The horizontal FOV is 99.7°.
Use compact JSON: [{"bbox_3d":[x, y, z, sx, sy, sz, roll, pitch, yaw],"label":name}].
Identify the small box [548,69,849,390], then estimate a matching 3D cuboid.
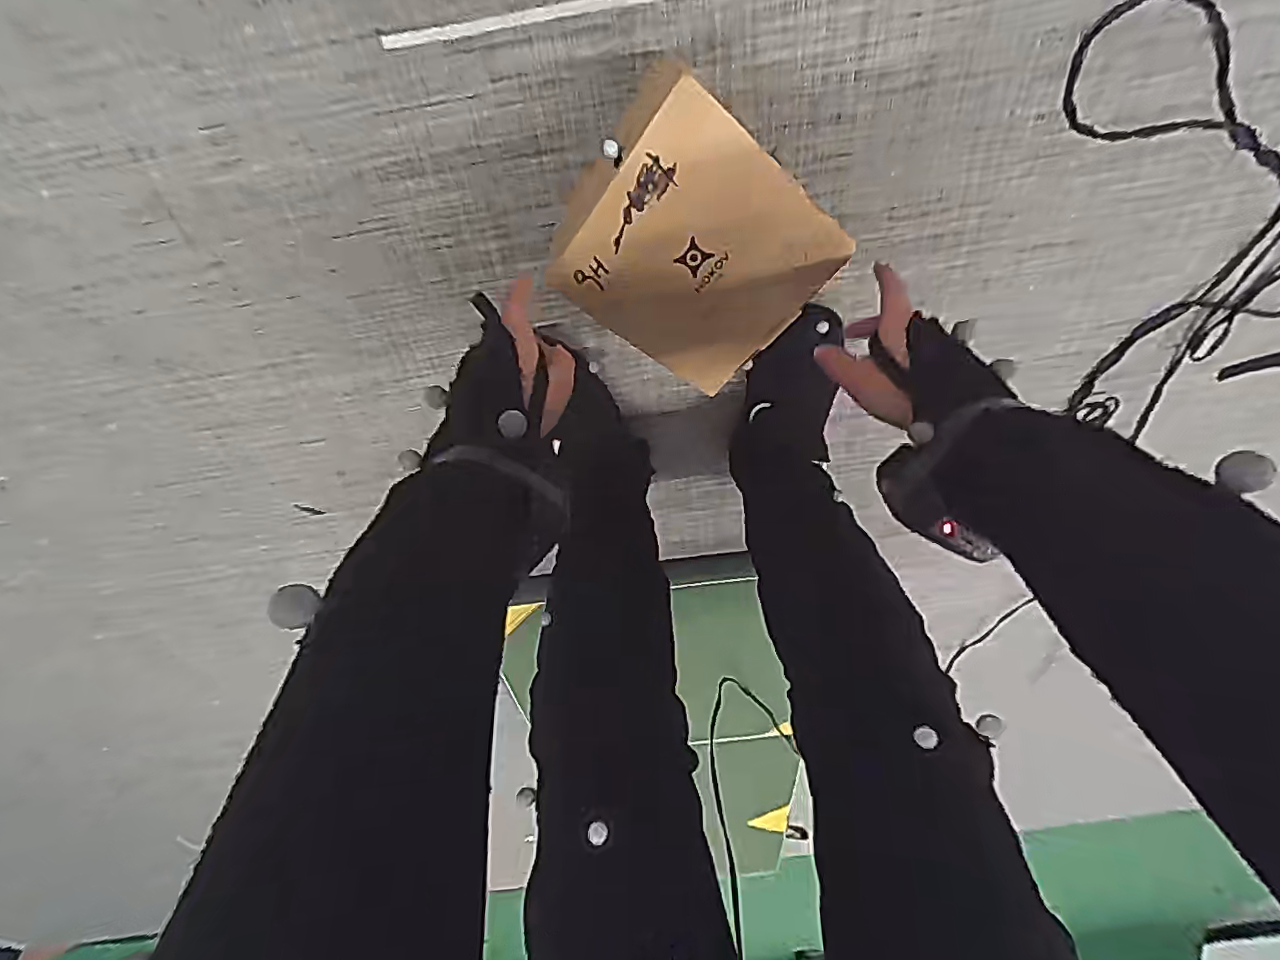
[{"bbox_3d":[0.041,-0.219,0.473,0.179,0.176,0.168,29,124,-26],"label":"small box"}]
